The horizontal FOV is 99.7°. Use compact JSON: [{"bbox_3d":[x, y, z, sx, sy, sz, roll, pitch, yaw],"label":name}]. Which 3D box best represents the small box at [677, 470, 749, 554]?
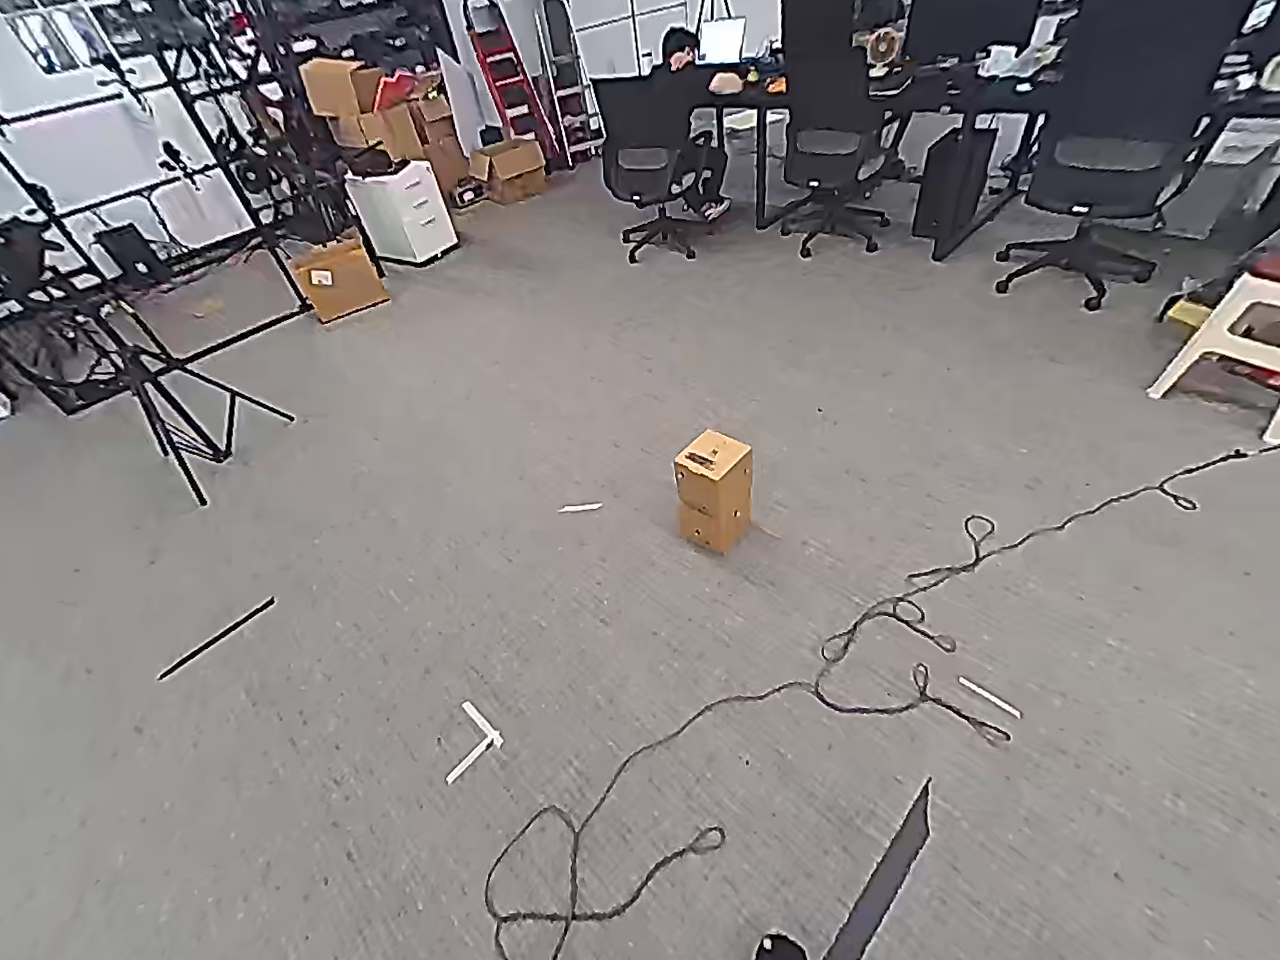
[{"bbox_3d":[0.240,0.105,1.758,0.168,0.176,0.179,23,53,31],"label":"small box"}]
